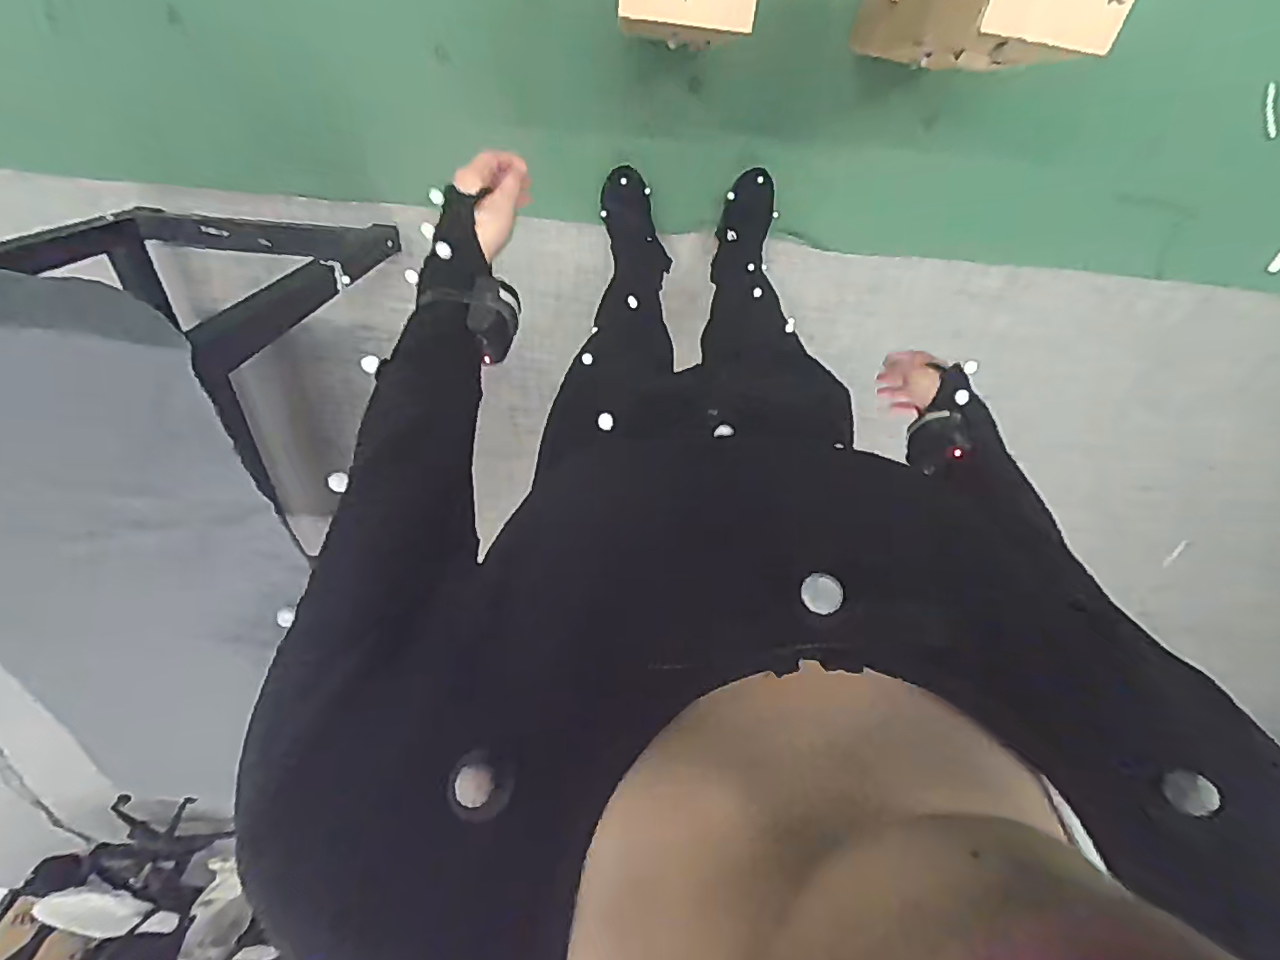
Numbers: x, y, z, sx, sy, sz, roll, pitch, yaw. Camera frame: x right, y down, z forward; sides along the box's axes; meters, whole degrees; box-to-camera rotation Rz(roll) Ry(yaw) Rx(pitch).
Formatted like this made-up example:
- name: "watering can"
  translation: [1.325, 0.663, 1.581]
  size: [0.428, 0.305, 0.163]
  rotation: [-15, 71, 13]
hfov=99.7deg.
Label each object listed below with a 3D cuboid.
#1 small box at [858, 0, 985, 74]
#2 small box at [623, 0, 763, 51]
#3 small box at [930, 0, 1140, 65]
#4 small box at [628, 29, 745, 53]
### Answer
- name: "small box"
  translation: [0.516, -0.830, 0.946]
  size: [0.179, 0.176, 0.168]
  rotation: [7, 126, -6]
- name: "small box"
  translation: [0.067, -0.654, 0.667]
  size: [0.168, 0.176, 0.179]
  rotation: [4, 126, -3]
- name: "small box"
  translation: [0.506, -0.638, 0.680]
  size: [0.179, 0.176, 0.168]
  rotation: [7, 125, -4]
- name: "small box"
  translation: [0.074, -0.747, 0.803]
  size: [0.179, 0.176, 0.168]
  rotation: [3, 125, -1]
